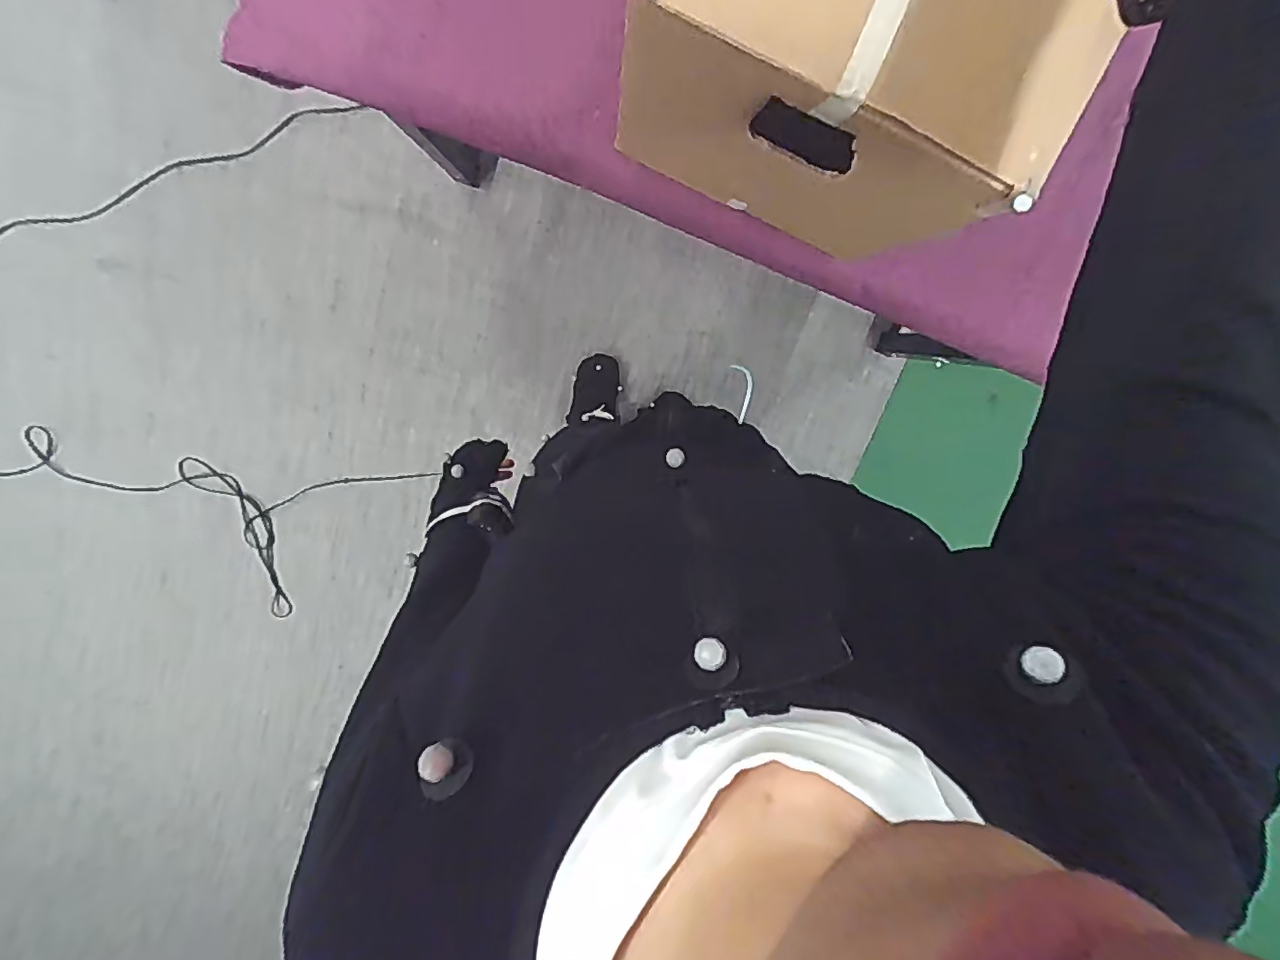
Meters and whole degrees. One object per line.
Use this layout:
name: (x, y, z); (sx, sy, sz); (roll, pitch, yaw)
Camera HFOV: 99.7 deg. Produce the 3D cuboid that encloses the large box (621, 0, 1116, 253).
large box: (0.199, -0.475, 0.479); (0.320, 0.320, 0.408); (21, 103, -9)
